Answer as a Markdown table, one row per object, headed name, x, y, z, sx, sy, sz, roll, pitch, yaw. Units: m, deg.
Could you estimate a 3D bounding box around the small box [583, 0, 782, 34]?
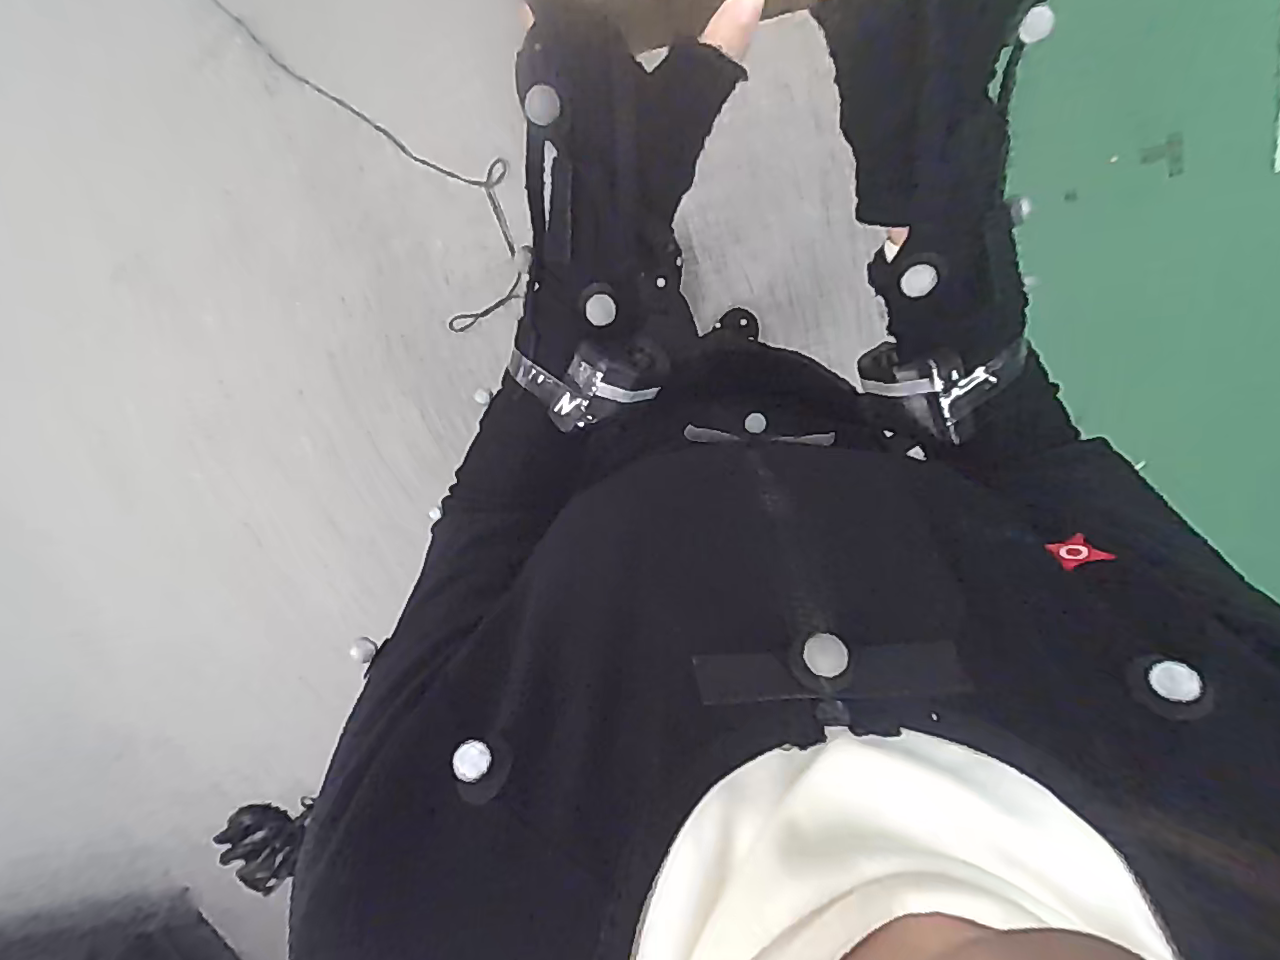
| name | x | y | z | sx | sy | sz | roll | pitch | yaw |
| --- | --- | --- | --- | --- | --- | --- | --- | --- | --- |
| small box | 0.037 | -0.324 | 0.231 | 0.168 | 0.176 | 0.179 | -8 | 119 | 8 |
